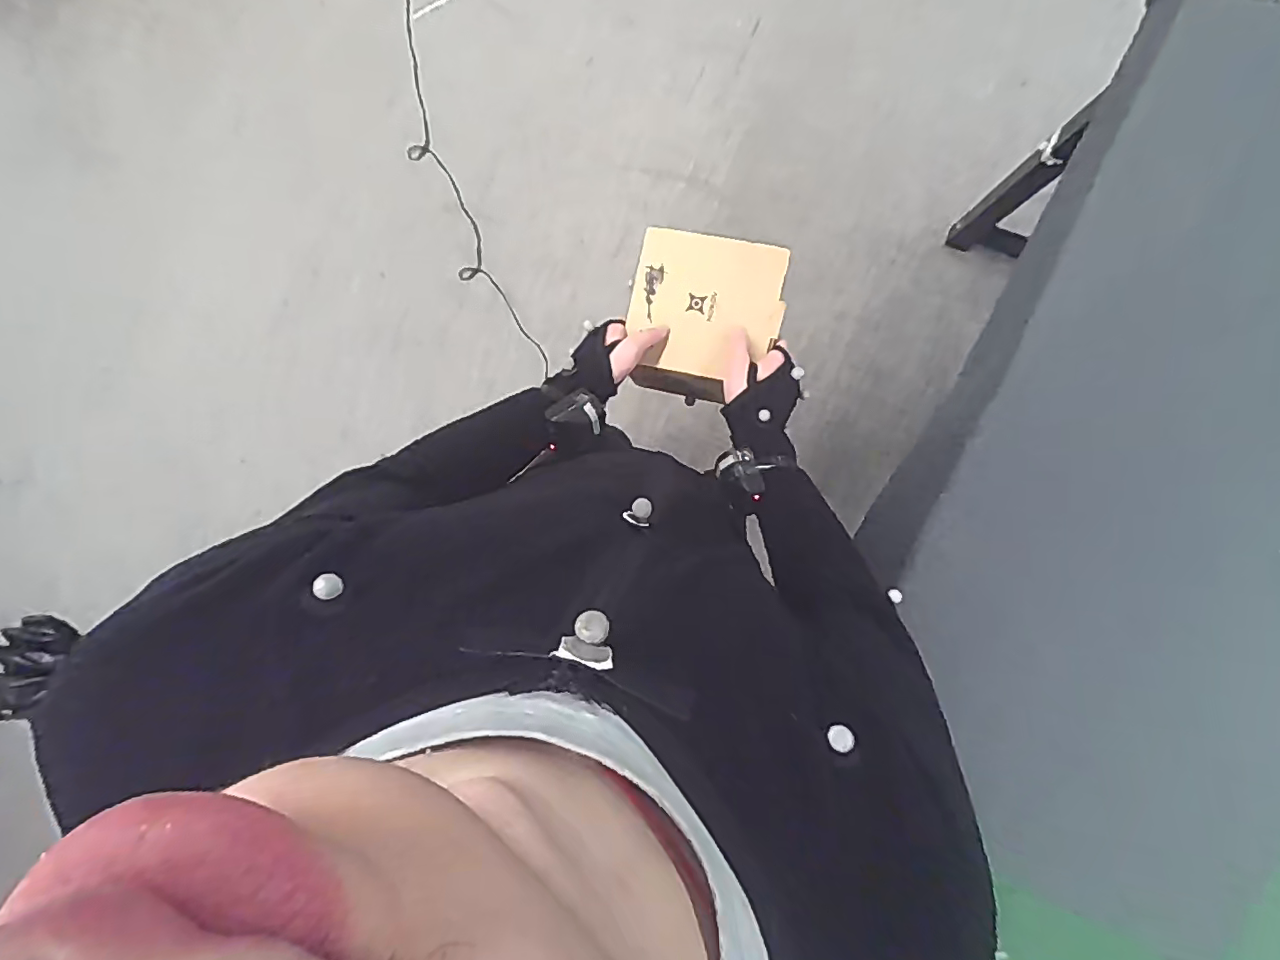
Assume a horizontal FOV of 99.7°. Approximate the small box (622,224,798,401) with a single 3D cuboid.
[{"bbox_3d":[0.087,-0.204,0.708,0.179,0.176,0.168,13,91,5],"label":"small box"}]
